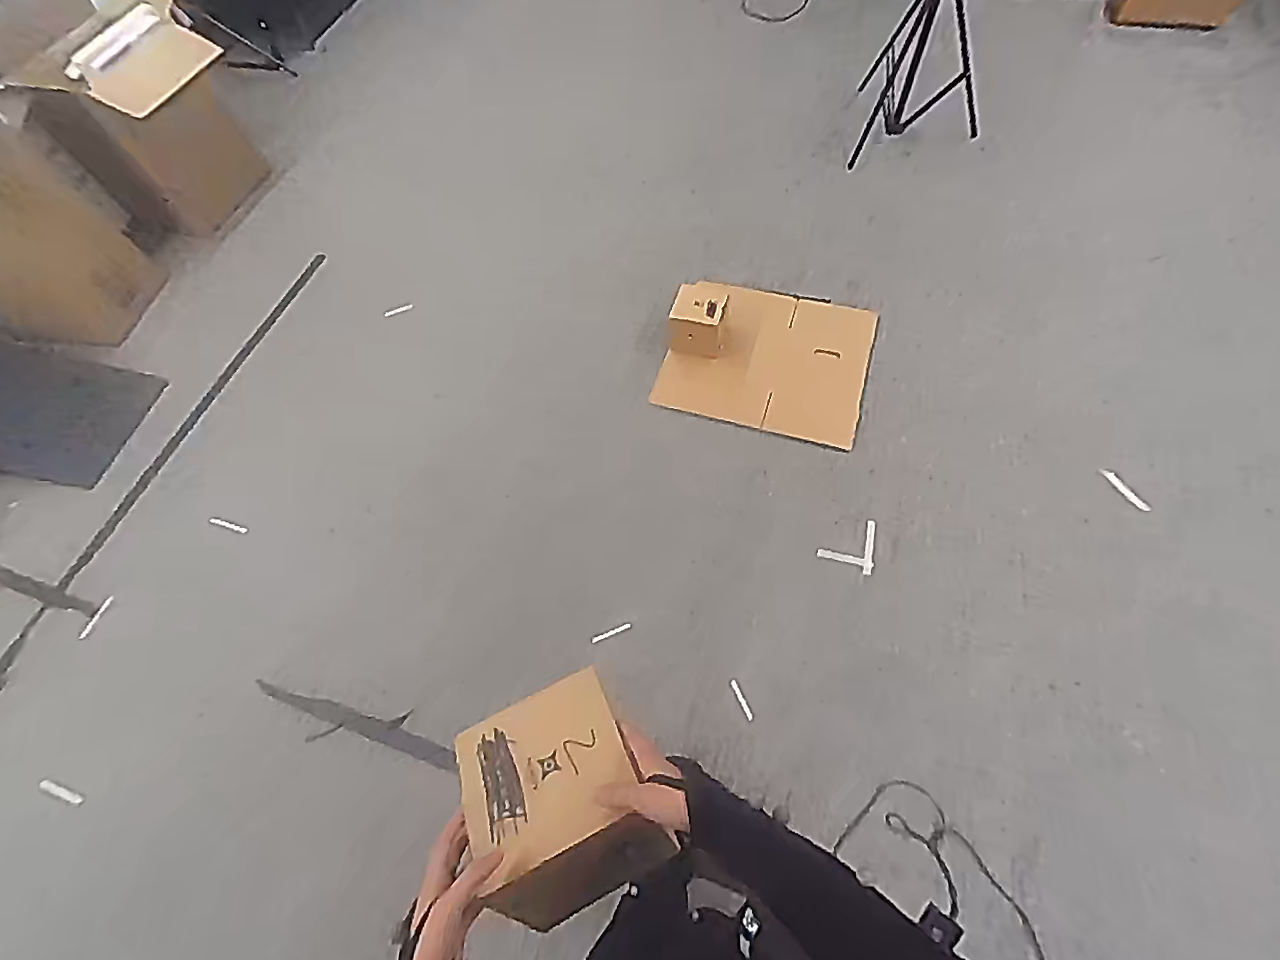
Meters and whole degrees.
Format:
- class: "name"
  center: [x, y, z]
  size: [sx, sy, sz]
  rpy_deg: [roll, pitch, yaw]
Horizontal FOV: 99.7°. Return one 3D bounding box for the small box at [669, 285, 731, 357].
- class: "small box"
  center: [0.214, -0.562, 1.925]
  size: [0.179, 0.176, 0.168]
  rpy_deg: [15, 65, 14]
